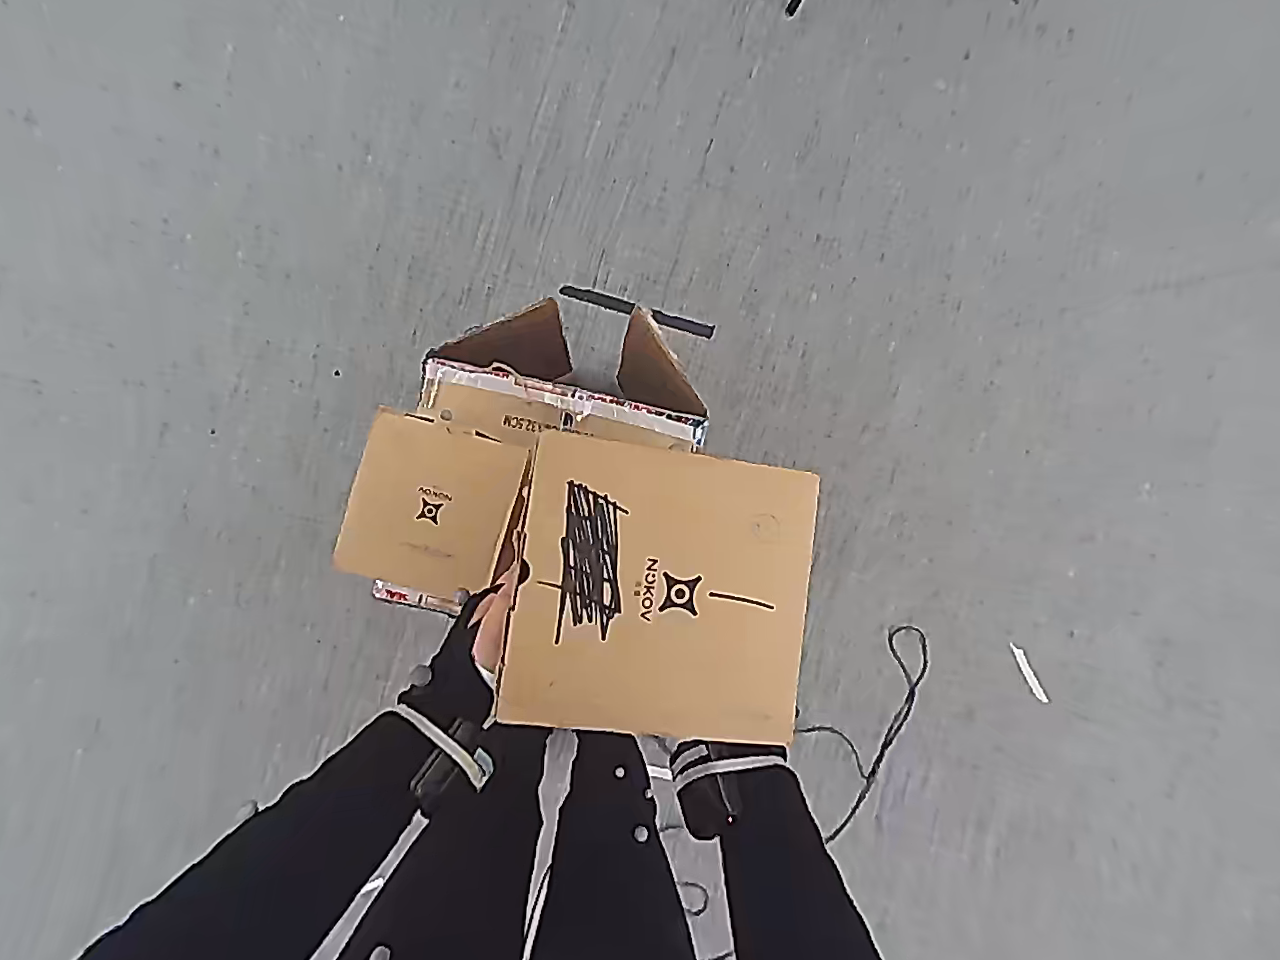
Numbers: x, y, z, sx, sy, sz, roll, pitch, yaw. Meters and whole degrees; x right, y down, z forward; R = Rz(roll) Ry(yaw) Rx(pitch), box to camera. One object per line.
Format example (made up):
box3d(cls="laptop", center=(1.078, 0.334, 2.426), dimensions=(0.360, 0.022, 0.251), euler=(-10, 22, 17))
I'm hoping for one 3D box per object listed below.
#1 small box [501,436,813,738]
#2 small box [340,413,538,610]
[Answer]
box3d(cls="small box", center=(0.005, 0.072, 0.407), dimensions=(0.179, 0.176, 0.168), euler=(8, 85, -8))
box3d(cls="small box", center=(-0.217, 0.032, 0.646), dimensions=(0.168, 0.176, 0.179), euler=(15, 91, -2))
